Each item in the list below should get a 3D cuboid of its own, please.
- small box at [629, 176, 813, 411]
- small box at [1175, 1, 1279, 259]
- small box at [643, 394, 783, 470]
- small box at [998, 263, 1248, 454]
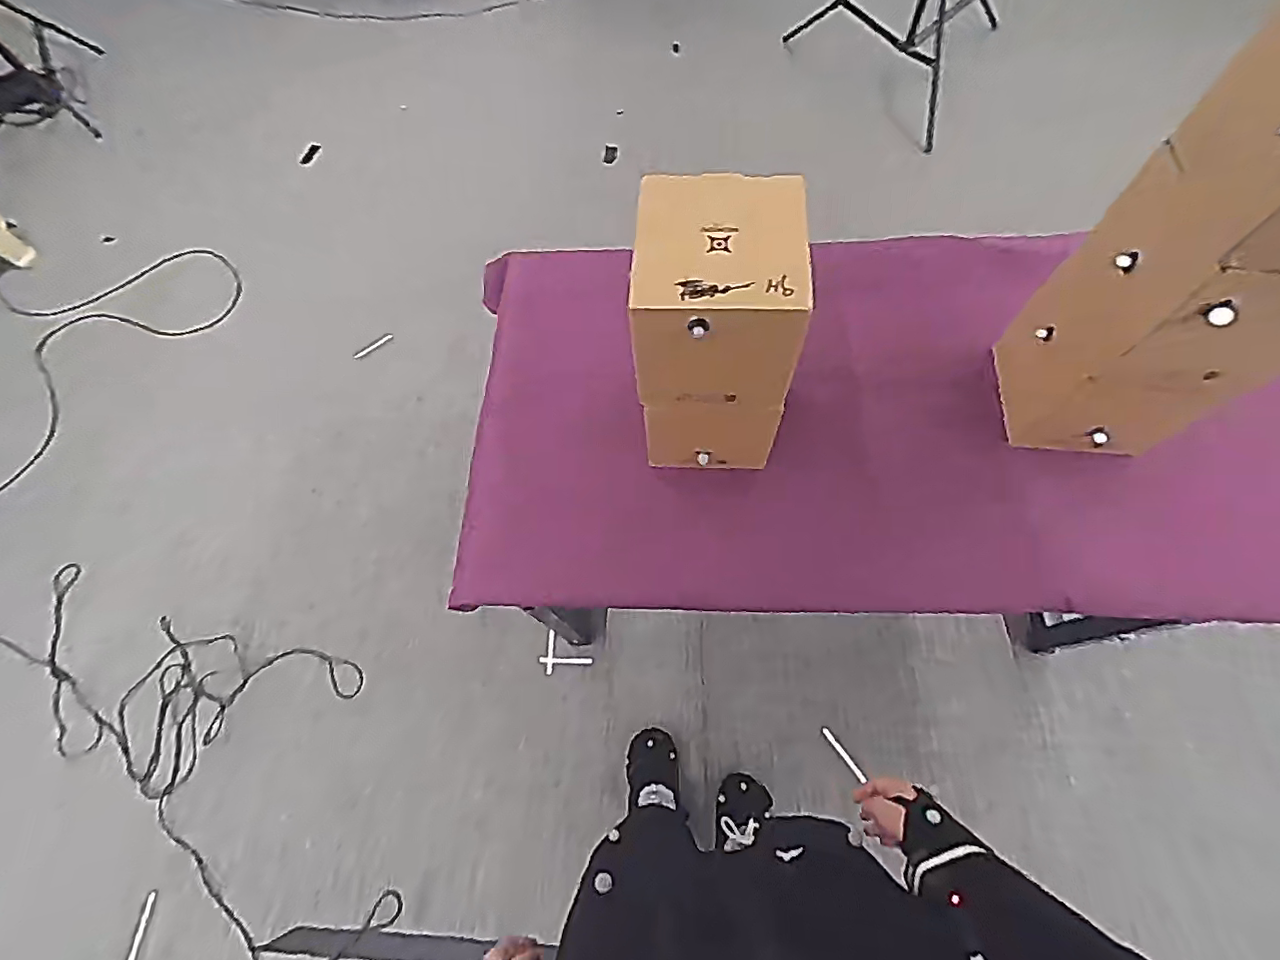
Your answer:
[{"bbox_3d":[0.082,-0.195,0.584,0.168,0.176,0.179,2,66,5],"label":"small box"},{"bbox_3d":[0.573,-0.281,0.406,0.168,0.176,0.179,7,65,6],"label":"small box"},{"bbox_3d":[0.094,-0.129,0.734,0.168,0.176,0.179,1,67,5],"label":"small box"},{"bbox_3d":[0.601,-0.154,0.705,0.168,0.176,0.179,5,66,7],"label":"small box"}]
